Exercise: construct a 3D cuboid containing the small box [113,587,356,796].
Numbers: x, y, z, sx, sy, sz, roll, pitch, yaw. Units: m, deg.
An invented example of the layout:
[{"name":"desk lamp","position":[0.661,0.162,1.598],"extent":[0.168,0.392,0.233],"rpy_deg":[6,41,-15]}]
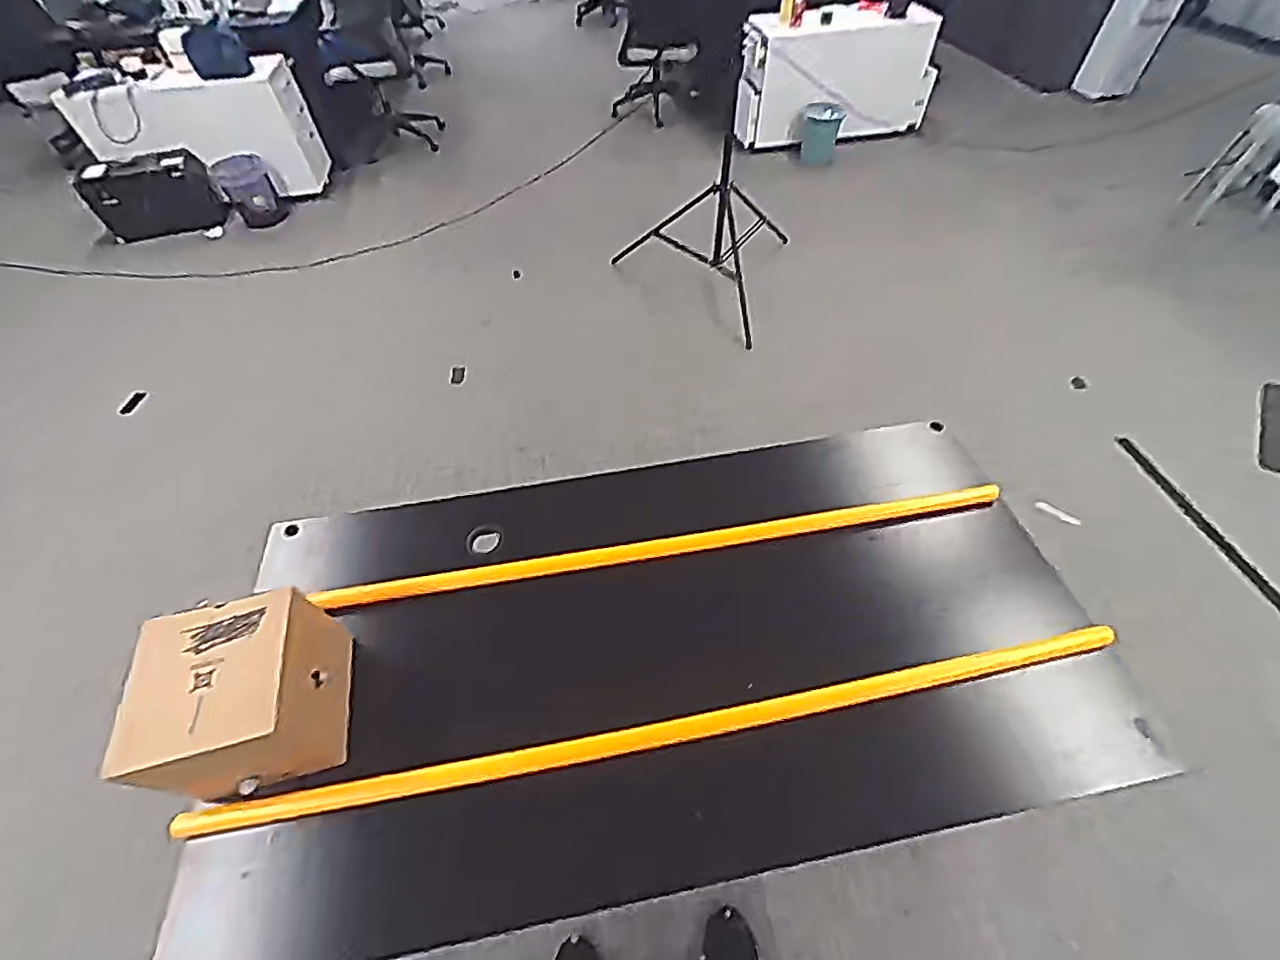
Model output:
[{"name":"small box","position":[-0.470,0.262,0.665],"extent":[0.168,0.176,0.179],"rpy_deg":[-13,54,-8]}]
